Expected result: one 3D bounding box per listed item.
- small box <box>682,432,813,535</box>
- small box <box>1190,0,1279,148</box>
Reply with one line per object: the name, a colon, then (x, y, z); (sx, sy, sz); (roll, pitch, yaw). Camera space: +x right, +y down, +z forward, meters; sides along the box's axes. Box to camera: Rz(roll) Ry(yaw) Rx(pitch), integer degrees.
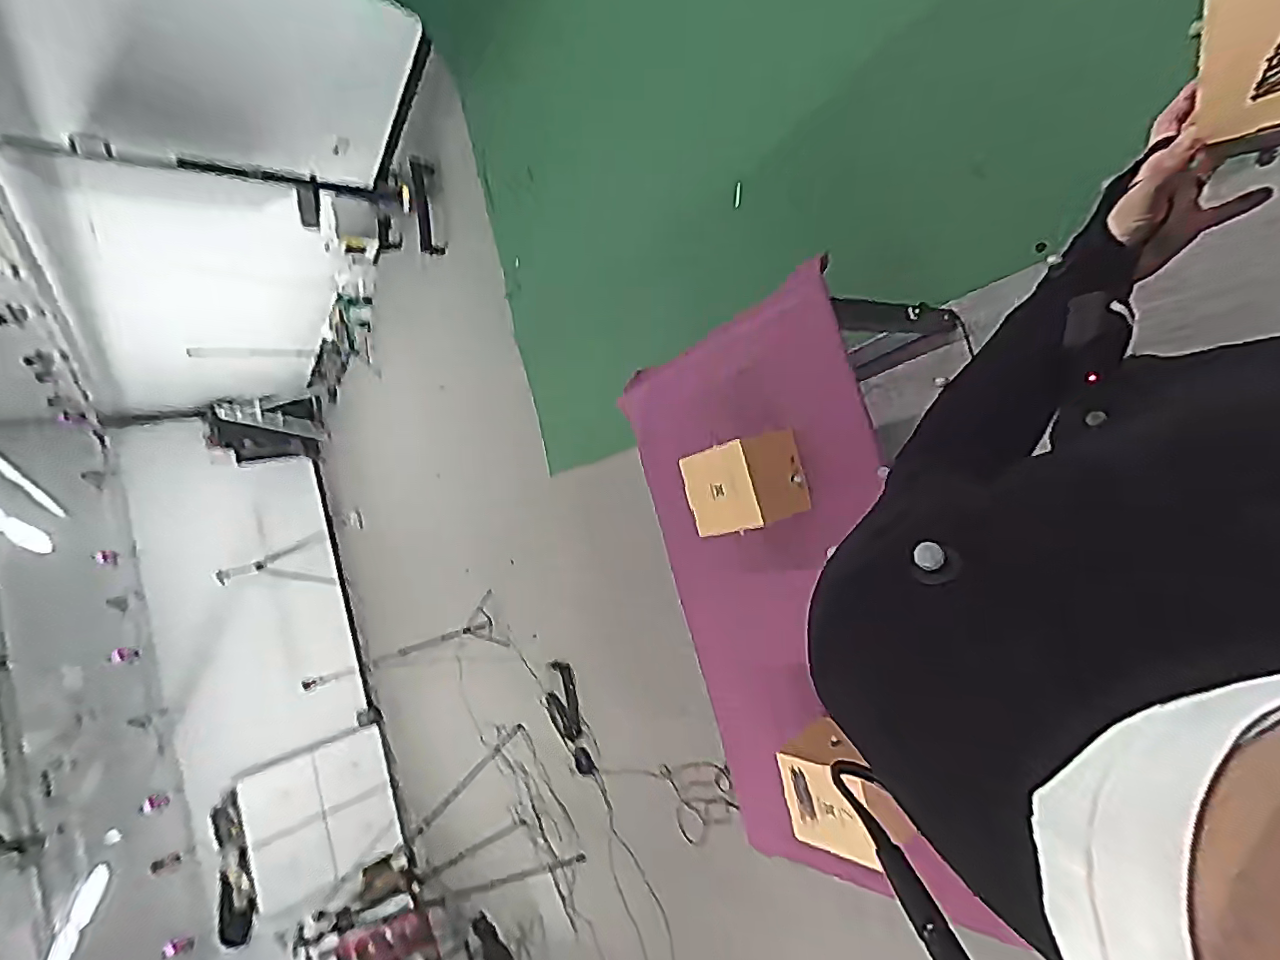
small box: (0.218, 0.007, 1.105); (0.179, 0.176, 0.168); (-19, 85, 52)
small box: (0.513, -0.348, 0.369); (0.168, 0.176, 0.179); (9, 114, 49)
